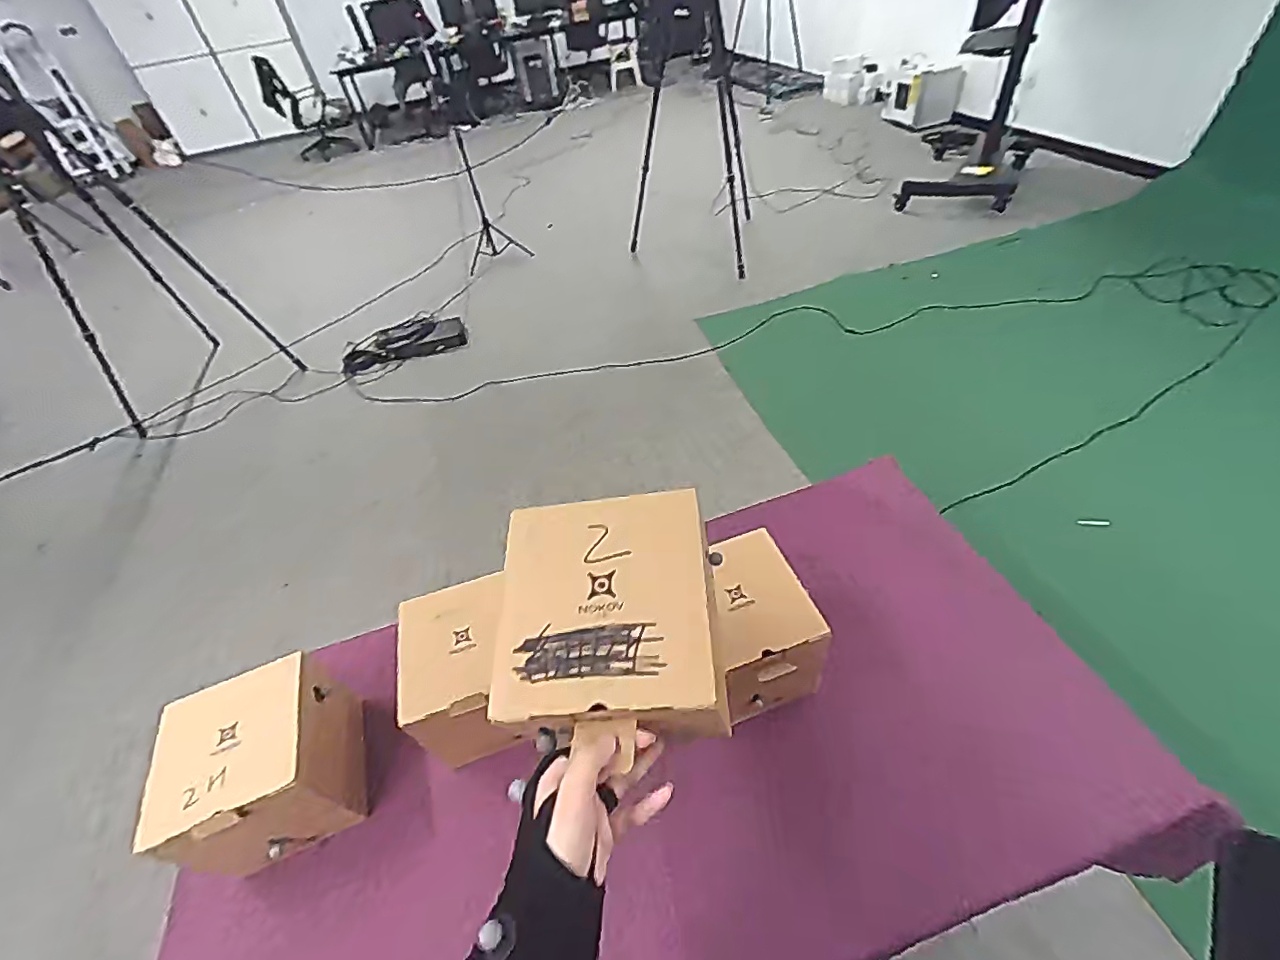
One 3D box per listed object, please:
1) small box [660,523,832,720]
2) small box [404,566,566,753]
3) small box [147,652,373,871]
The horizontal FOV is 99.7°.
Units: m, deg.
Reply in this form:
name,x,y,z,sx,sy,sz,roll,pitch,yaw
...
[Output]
name,x,y,z,sx,sy,sz,roll,pitch,yaw
small box,0.136,0.195,0.744,0.168,0.176,0.179,-19,47,-7
small box,-0.211,0.256,0.752,0.168,0.176,0.179,-17,46,-7
small box,-0.466,0.362,0.697,0.168,0.176,0.179,-22,48,-10
